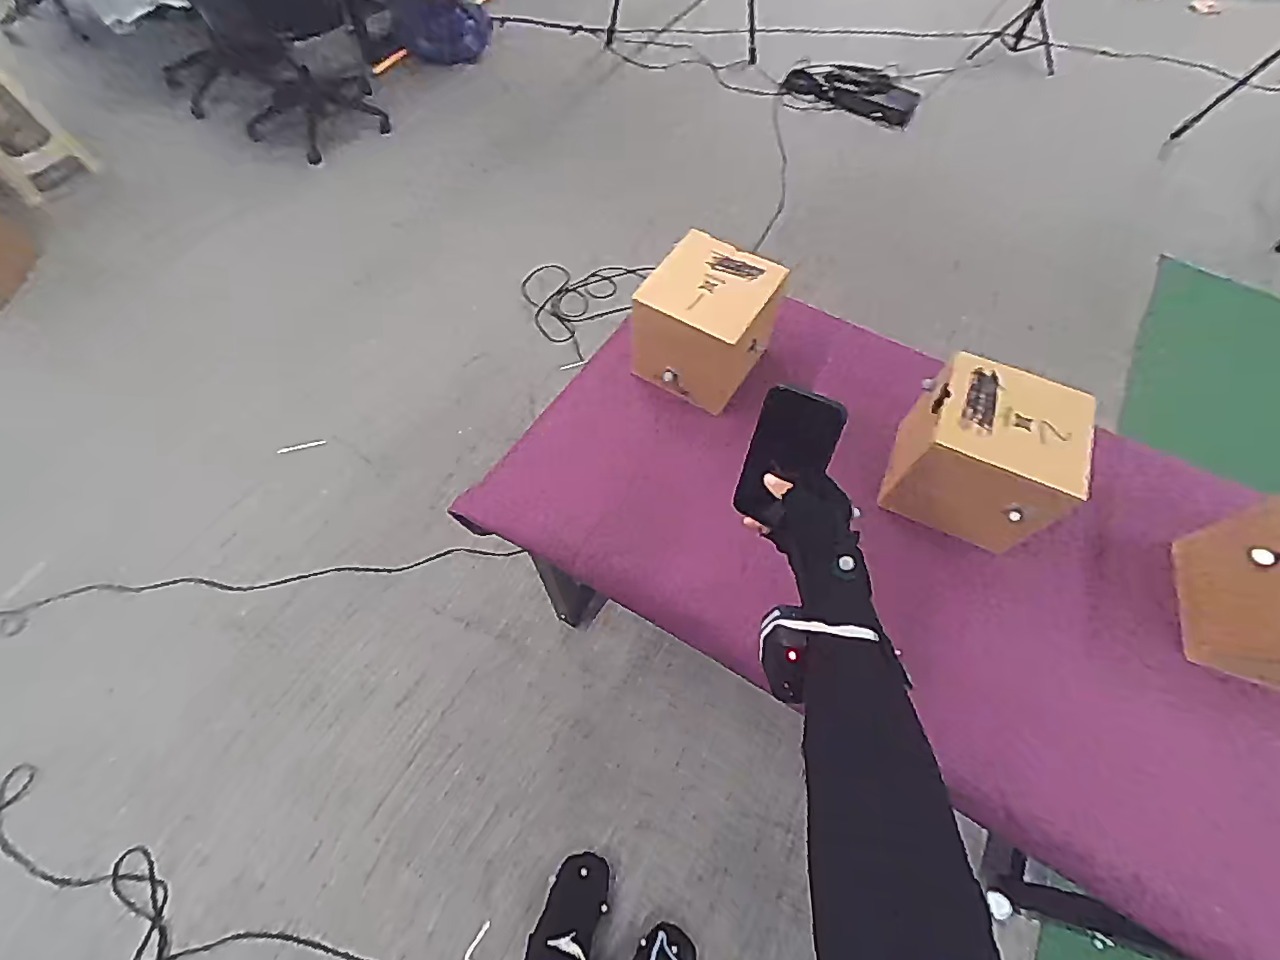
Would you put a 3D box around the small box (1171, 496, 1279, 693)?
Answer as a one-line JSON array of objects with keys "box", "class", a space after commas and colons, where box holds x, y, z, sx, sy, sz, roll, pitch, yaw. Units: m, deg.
[{"box": [0.786, 0.148, 0.635, 0.168, 0.176, 0.179, 19, 61, 10], "class": "small box"}]

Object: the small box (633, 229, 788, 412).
[{"box": [0.099, -0.241, 0.835, 0.168, 0.176, 0.179, 30, 66, 15], "class": "small box"}]
